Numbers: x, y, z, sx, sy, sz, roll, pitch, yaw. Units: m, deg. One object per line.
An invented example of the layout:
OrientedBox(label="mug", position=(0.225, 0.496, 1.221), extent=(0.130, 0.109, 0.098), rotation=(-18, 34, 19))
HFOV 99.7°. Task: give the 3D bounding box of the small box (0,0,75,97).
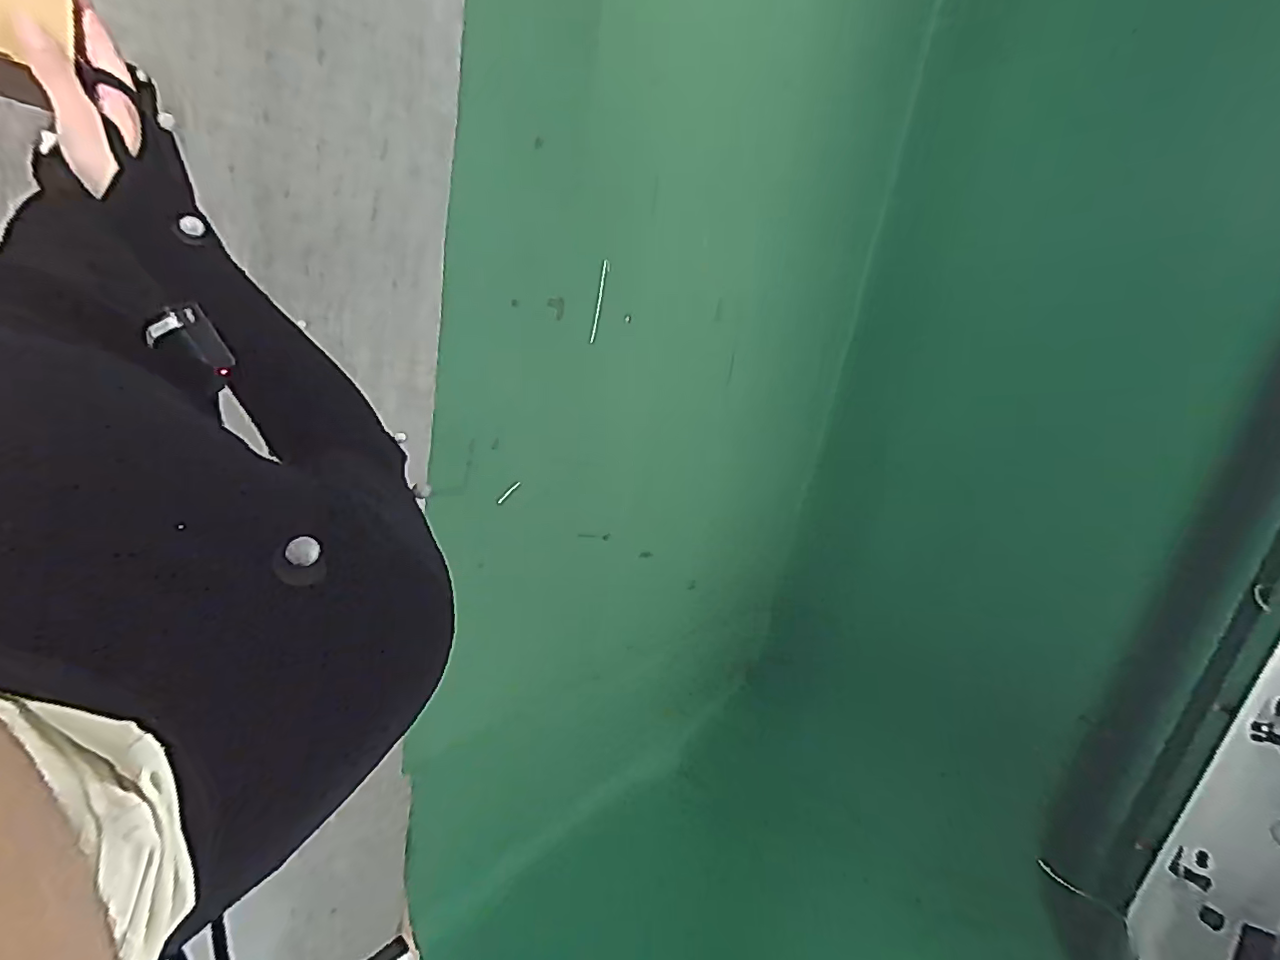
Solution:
OrientedBox(label="small box", position=(-0.508, -0.400, 0.363), extent=(0.168, 0.176, 0.179), rotation=(-3, 109, -50))

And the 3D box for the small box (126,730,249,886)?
OrientedBox(label="small box", position=(-0.922, 0.654, 1.102), extent=(0.168, 0.176, 0.179), rotation=(-4, 112, -50))
